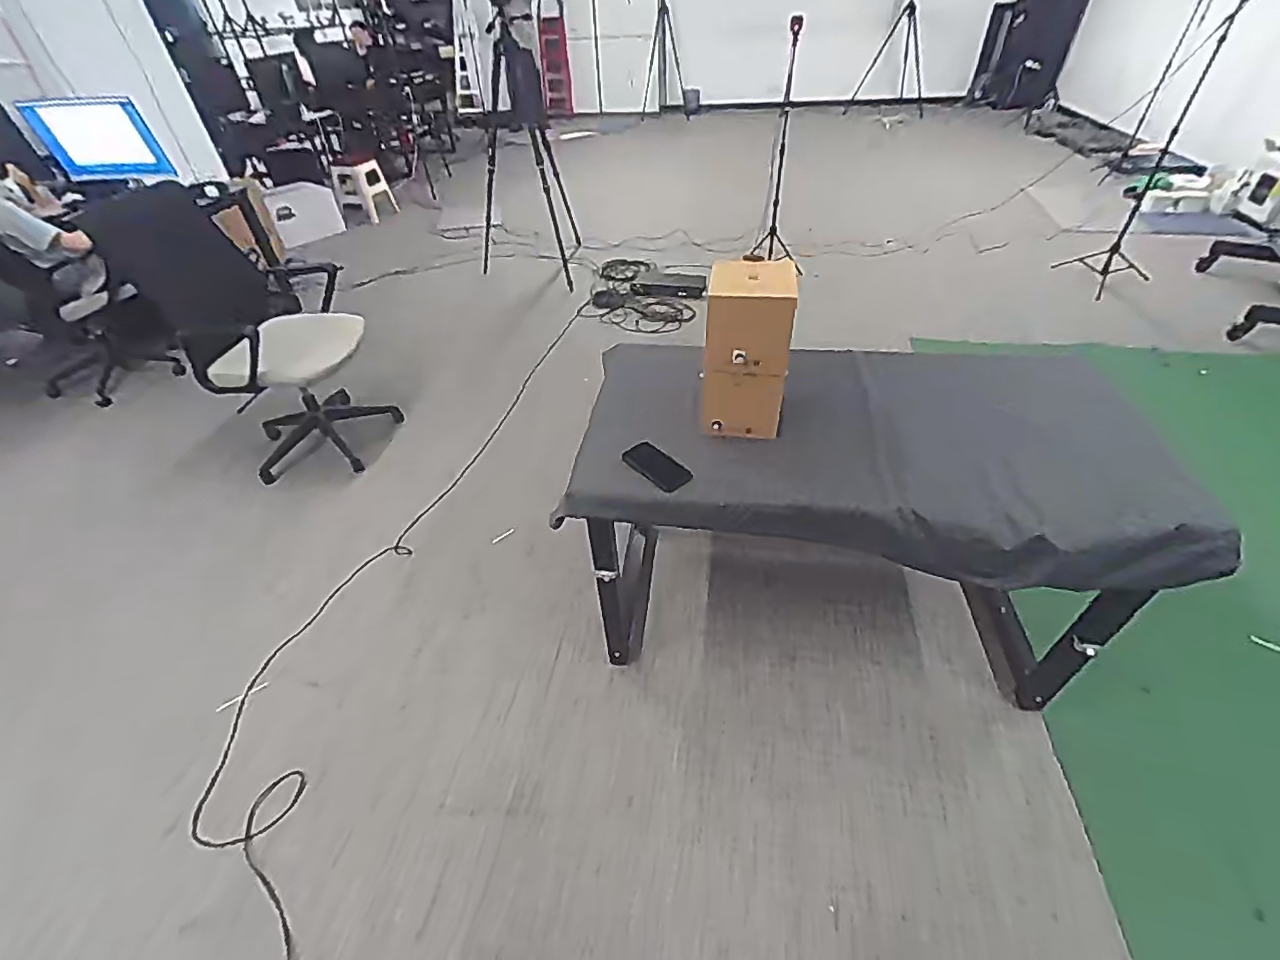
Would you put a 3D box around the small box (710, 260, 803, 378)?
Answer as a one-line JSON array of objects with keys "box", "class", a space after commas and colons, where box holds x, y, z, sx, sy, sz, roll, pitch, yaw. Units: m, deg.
[{"box": [0.233, -0.329, 1.099, 0.168, 0.176, 0.179, 5, 44, 9], "class": "small box"}]

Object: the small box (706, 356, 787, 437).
[{"box": [0.238, -0.213, 1.212, 0.168, 0.176, 0.179, 6, 42, 9], "class": "small box"}]
